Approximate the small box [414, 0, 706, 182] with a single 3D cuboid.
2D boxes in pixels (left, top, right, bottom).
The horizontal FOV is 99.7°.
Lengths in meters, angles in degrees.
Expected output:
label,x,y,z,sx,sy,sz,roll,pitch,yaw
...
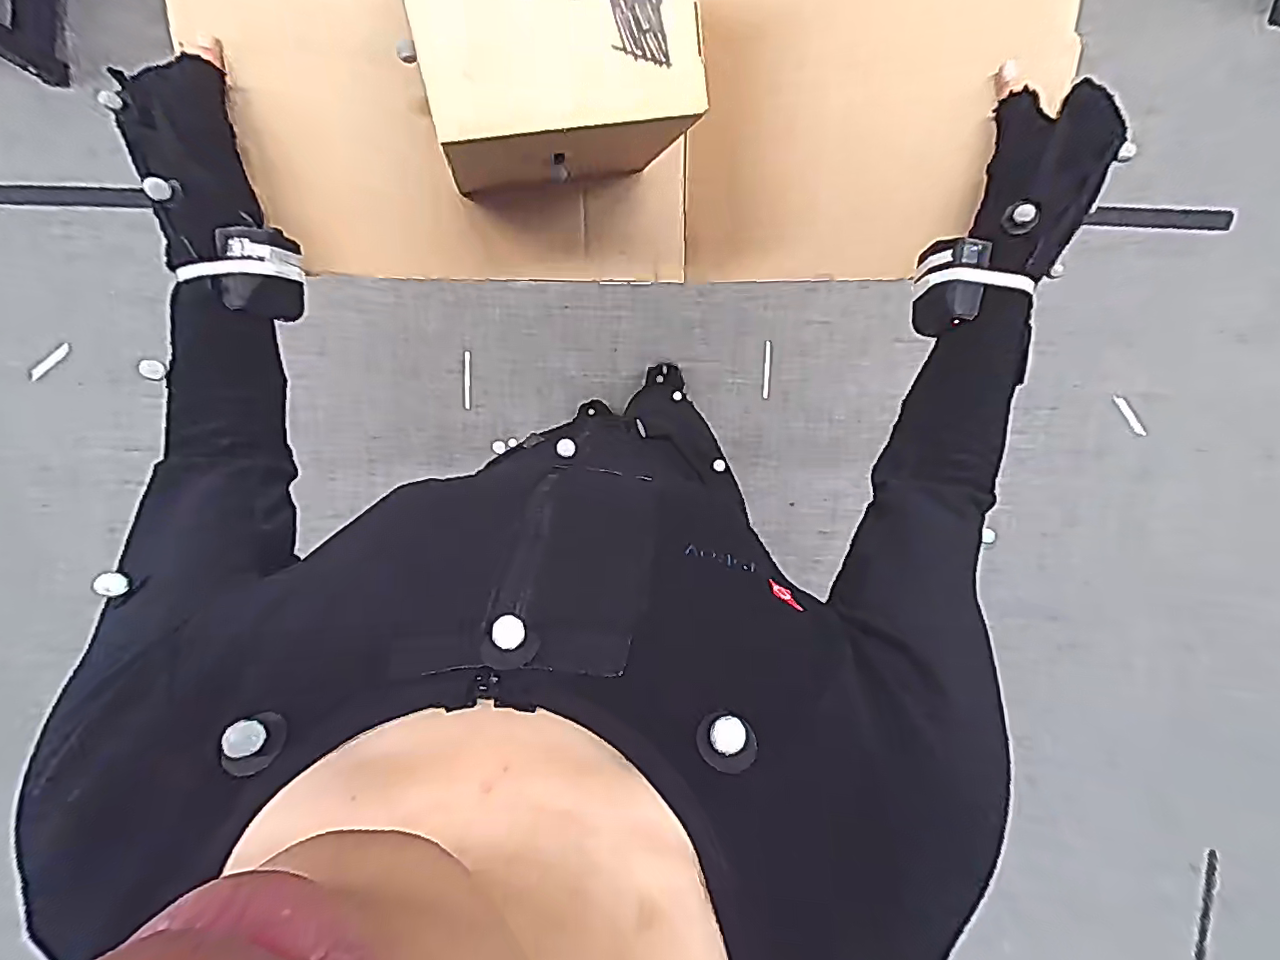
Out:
label,x,y,z,sx,sy,sz,roll,pitch,yaw
small box,-0.068,-0.332,0.396,0.179,0.176,0.168,-13,111,-10
